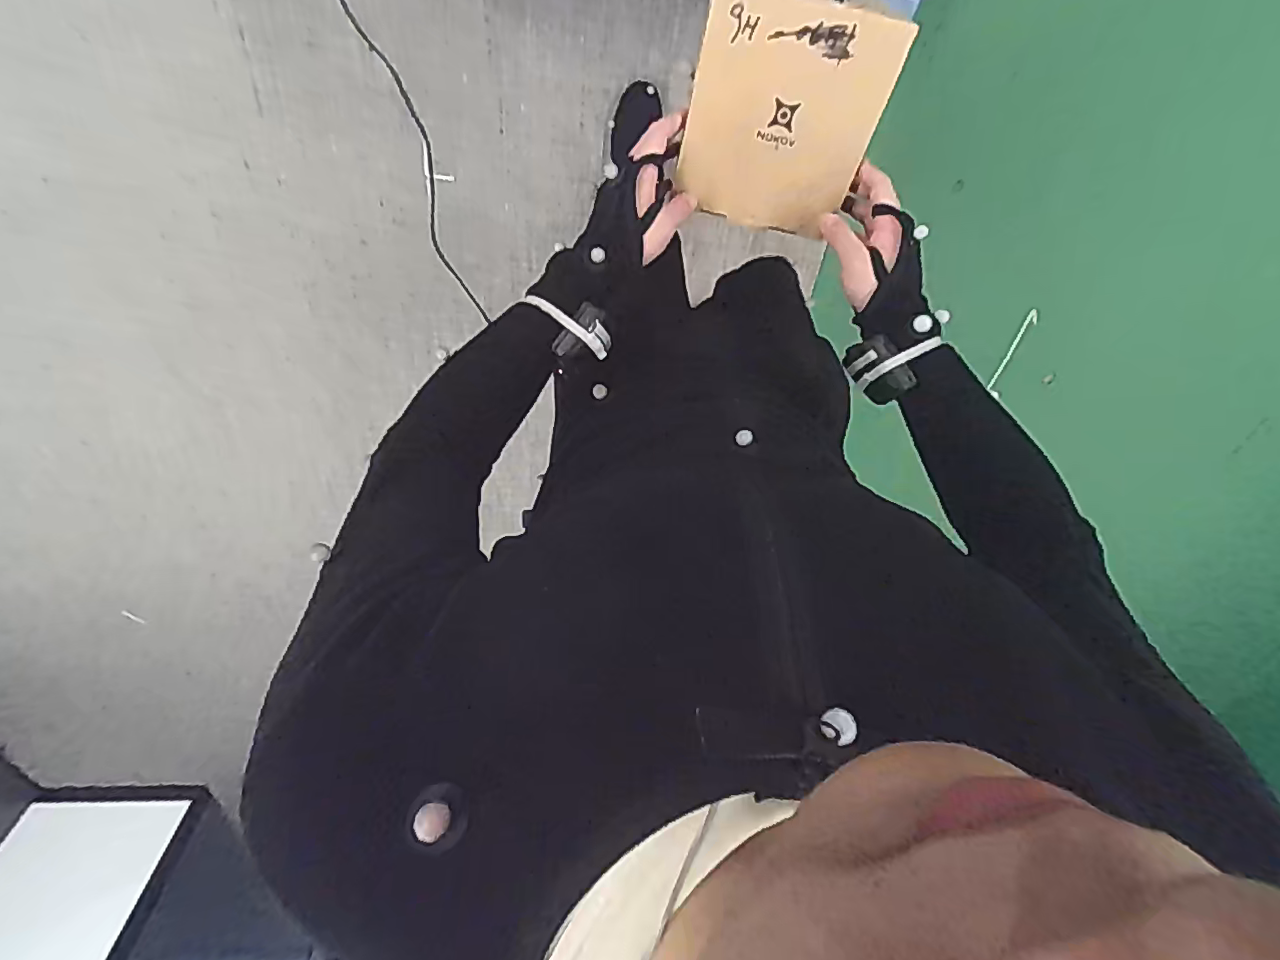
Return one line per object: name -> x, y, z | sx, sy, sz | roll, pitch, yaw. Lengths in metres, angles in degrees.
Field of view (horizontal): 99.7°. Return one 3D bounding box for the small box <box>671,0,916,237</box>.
small box -> 0.135, -0.380, 0.537 | 0.168, 0.176, 0.179 | 12, 138, -5
